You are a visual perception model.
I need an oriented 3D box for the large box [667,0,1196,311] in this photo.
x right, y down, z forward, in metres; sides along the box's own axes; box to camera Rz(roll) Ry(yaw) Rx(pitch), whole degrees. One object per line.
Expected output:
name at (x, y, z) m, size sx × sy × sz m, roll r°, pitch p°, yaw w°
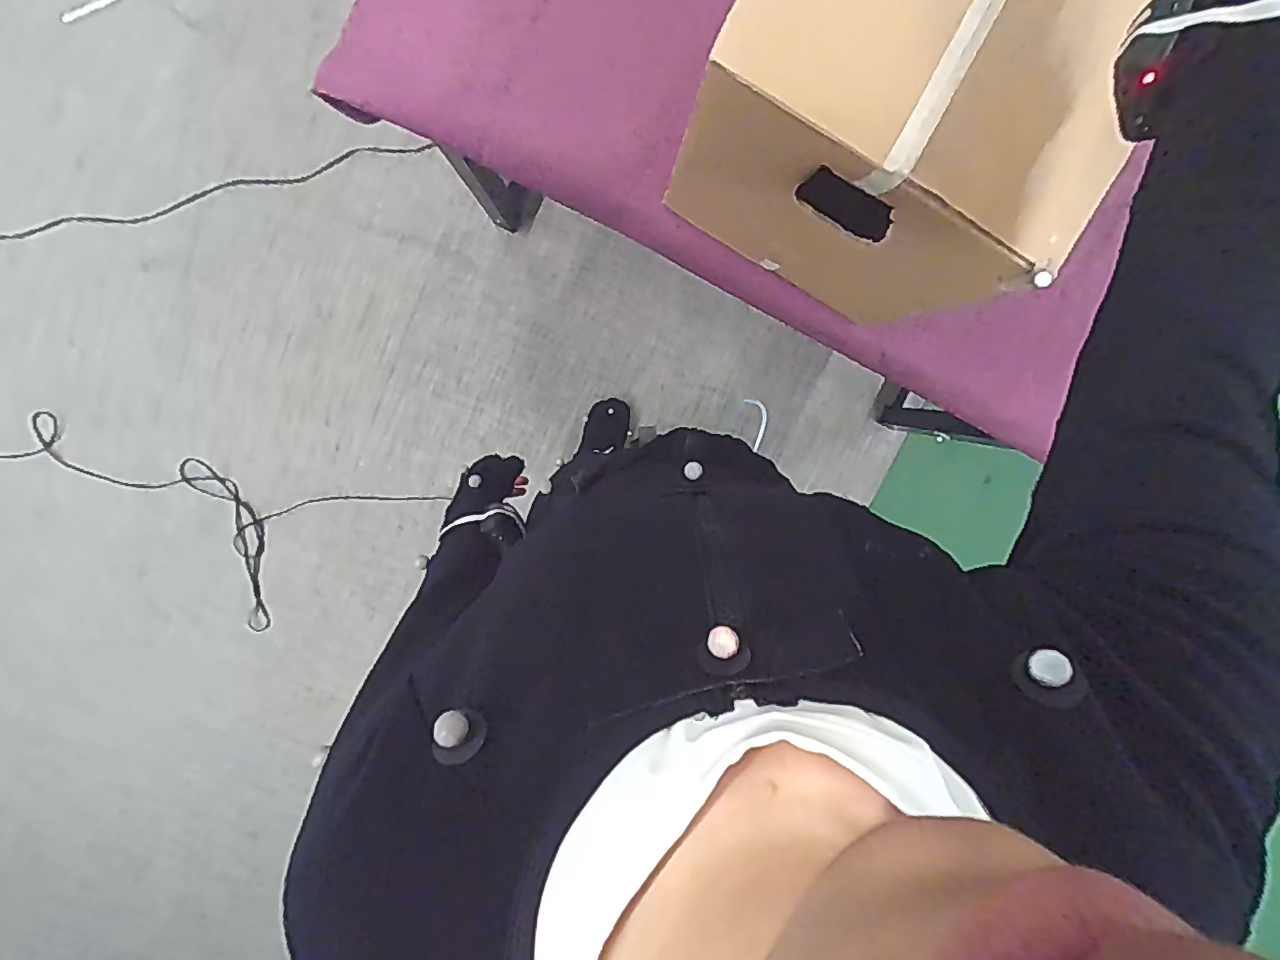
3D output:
large box at (0.265, -0.436, 0.538) m, size 0.320 × 0.320 × 0.408 m, roll 28°, pitch 98°, yaw -8°
